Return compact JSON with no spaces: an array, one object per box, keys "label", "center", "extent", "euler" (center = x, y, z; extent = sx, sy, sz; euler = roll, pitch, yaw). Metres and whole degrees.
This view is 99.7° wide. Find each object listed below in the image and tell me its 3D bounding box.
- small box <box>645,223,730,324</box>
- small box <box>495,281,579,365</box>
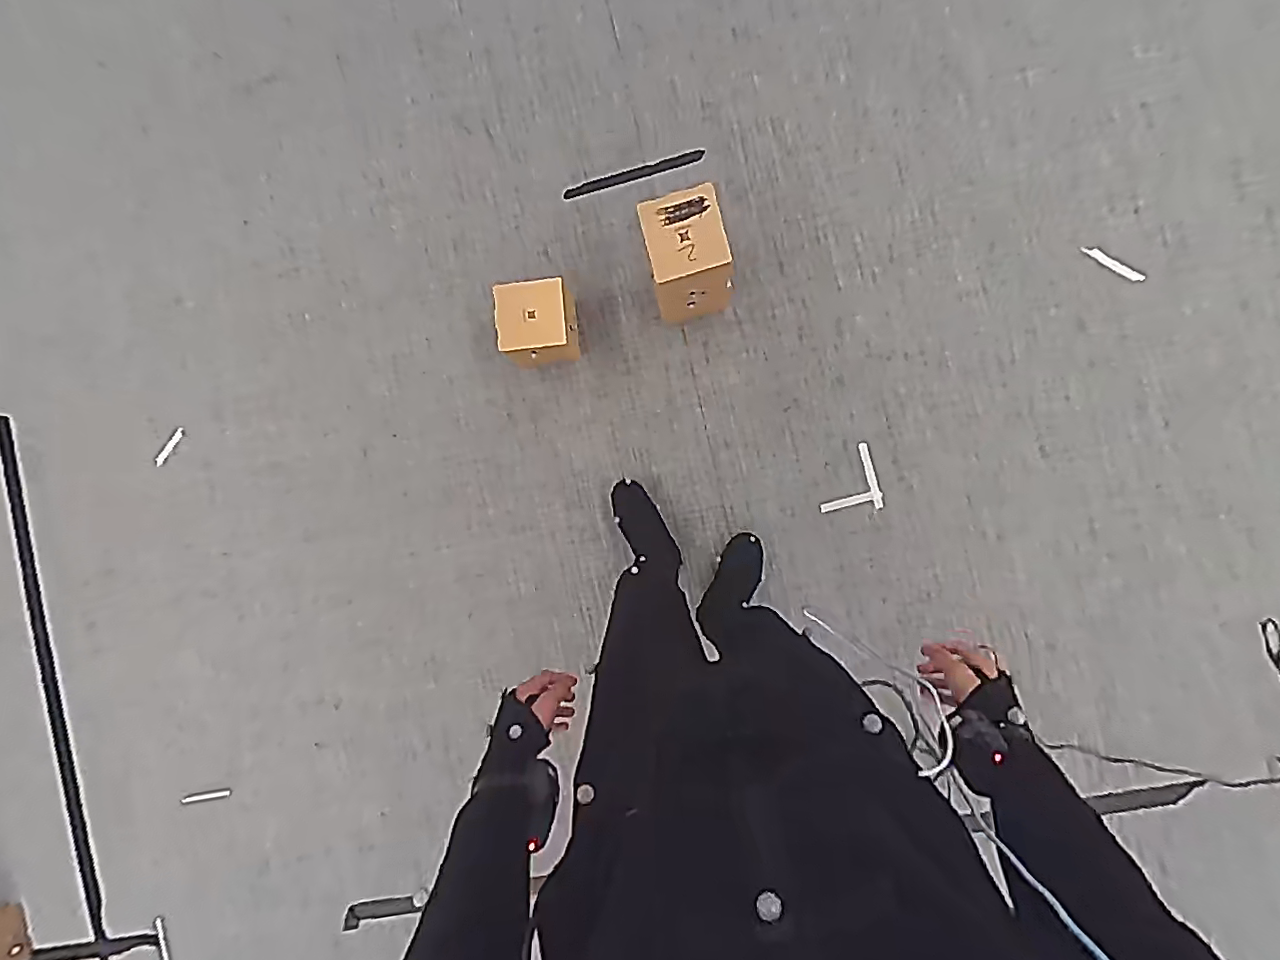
[{"label":"small box","center":[0.120,-0.510,1.367],"extent":[0.179,0.176,0.168],"euler":[-14,89,4]},{"label":"small box","center":[-0.259,-0.401,1.403],"extent":[0.179,0.176,0.168],"euler":[-5,90,6]}]
